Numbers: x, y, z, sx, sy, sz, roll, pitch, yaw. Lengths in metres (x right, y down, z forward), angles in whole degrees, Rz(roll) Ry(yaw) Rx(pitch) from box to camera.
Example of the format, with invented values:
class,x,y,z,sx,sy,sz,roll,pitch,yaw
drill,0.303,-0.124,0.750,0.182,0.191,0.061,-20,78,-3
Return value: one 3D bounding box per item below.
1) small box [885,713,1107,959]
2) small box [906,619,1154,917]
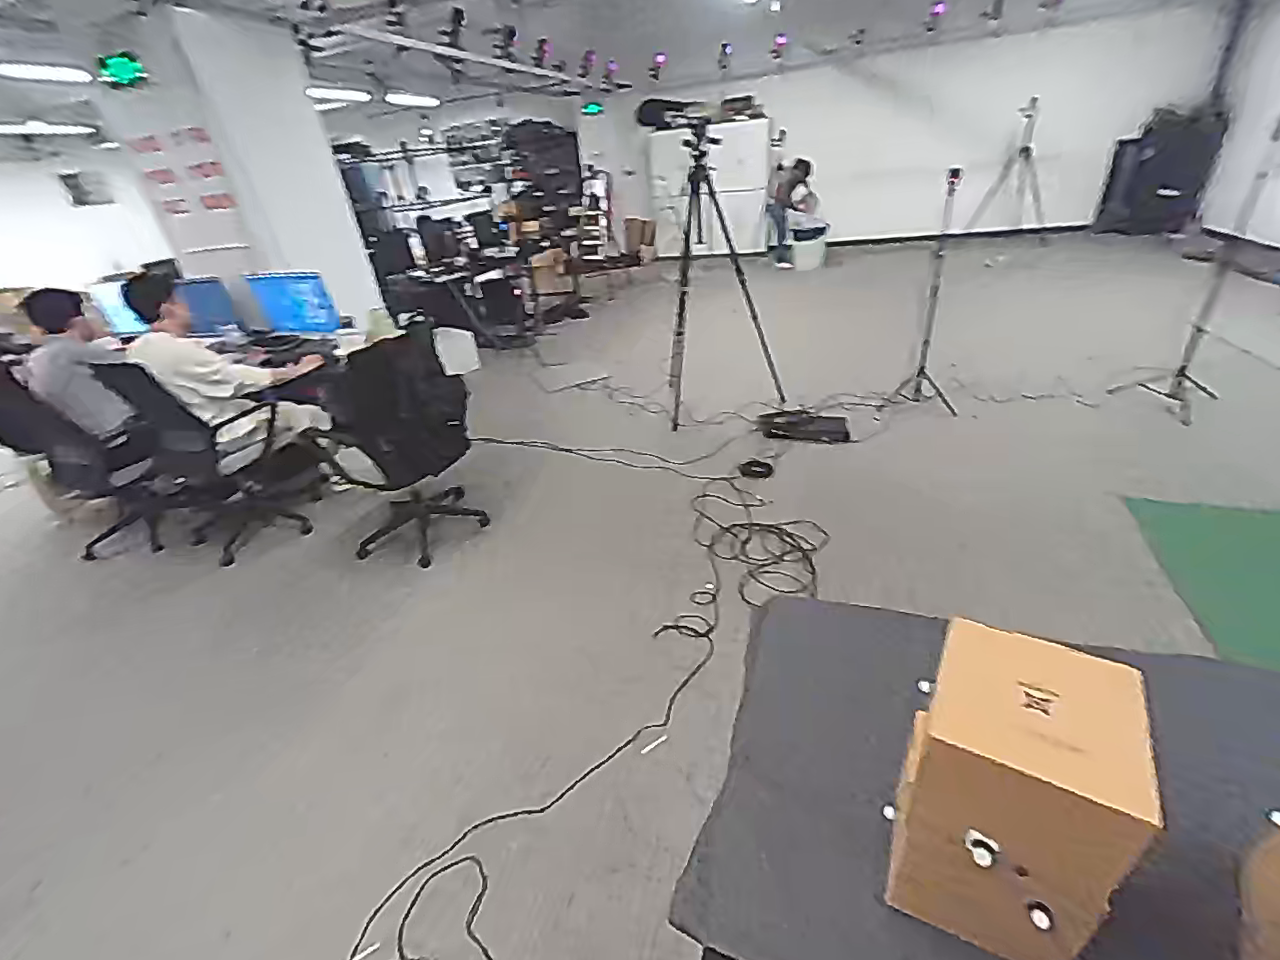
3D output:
class,x,y,z,sx,sy,sz,roll,pitch,yaw
small box,0.403,0.421,0.639,0.179,0.176,0.168,10,33,27
small box,0.384,0.283,0.556,0.168,0.176,0.179,12,36,32
